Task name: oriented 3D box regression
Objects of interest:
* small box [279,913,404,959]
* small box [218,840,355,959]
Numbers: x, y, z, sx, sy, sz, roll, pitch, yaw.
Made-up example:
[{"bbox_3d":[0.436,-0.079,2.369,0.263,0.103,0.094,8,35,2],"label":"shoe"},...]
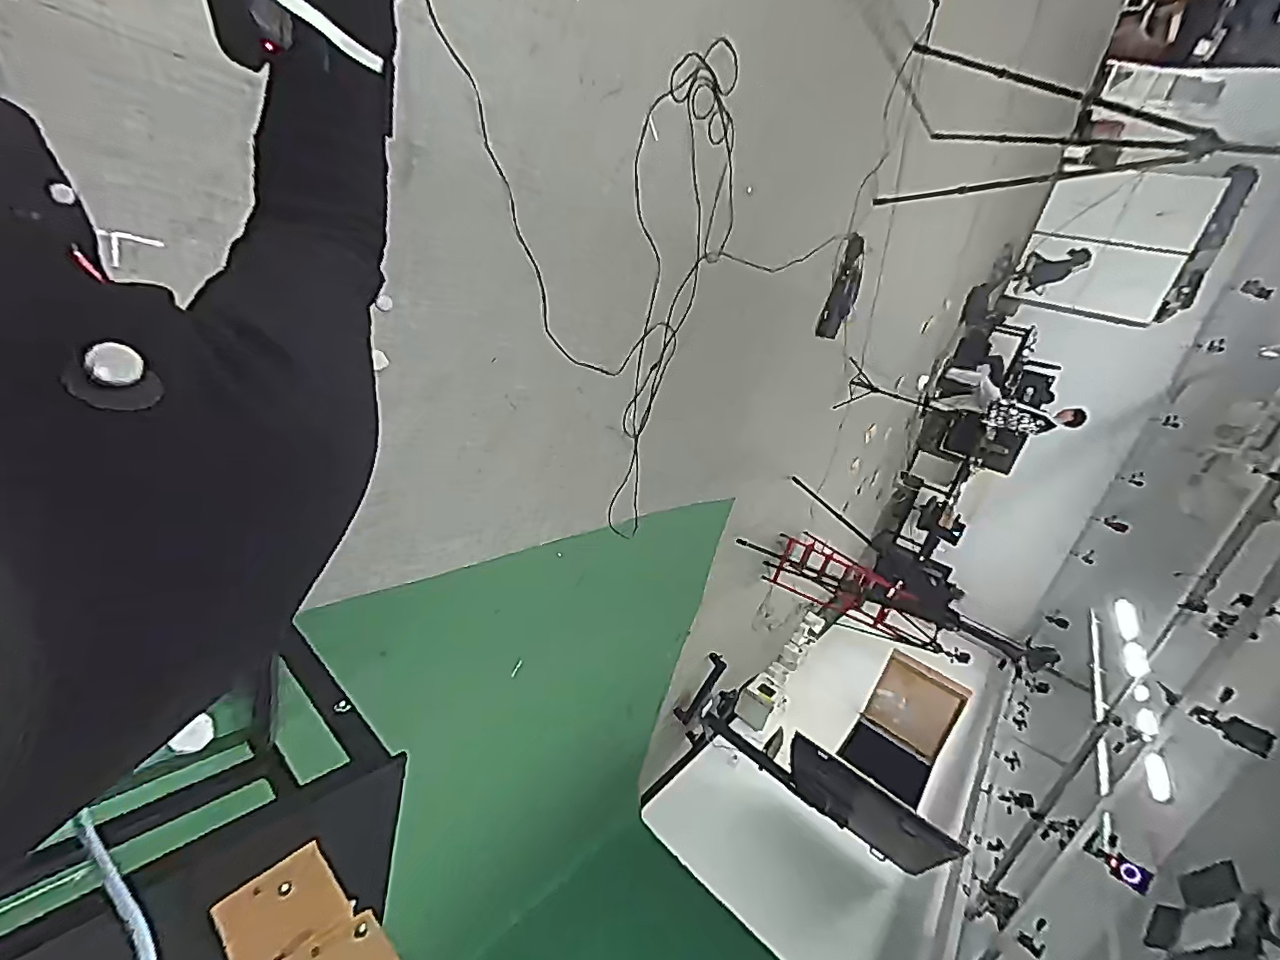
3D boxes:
[{"bbox_3d":[-0.518,0.885,0.909,0.168,0.176,0.179,10,106,-56],"label":"small box"},{"bbox_3d":[-0.642,0.819,0.994,0.168,0.176,0.179,-20,129,-45],"label":"small box"}]
